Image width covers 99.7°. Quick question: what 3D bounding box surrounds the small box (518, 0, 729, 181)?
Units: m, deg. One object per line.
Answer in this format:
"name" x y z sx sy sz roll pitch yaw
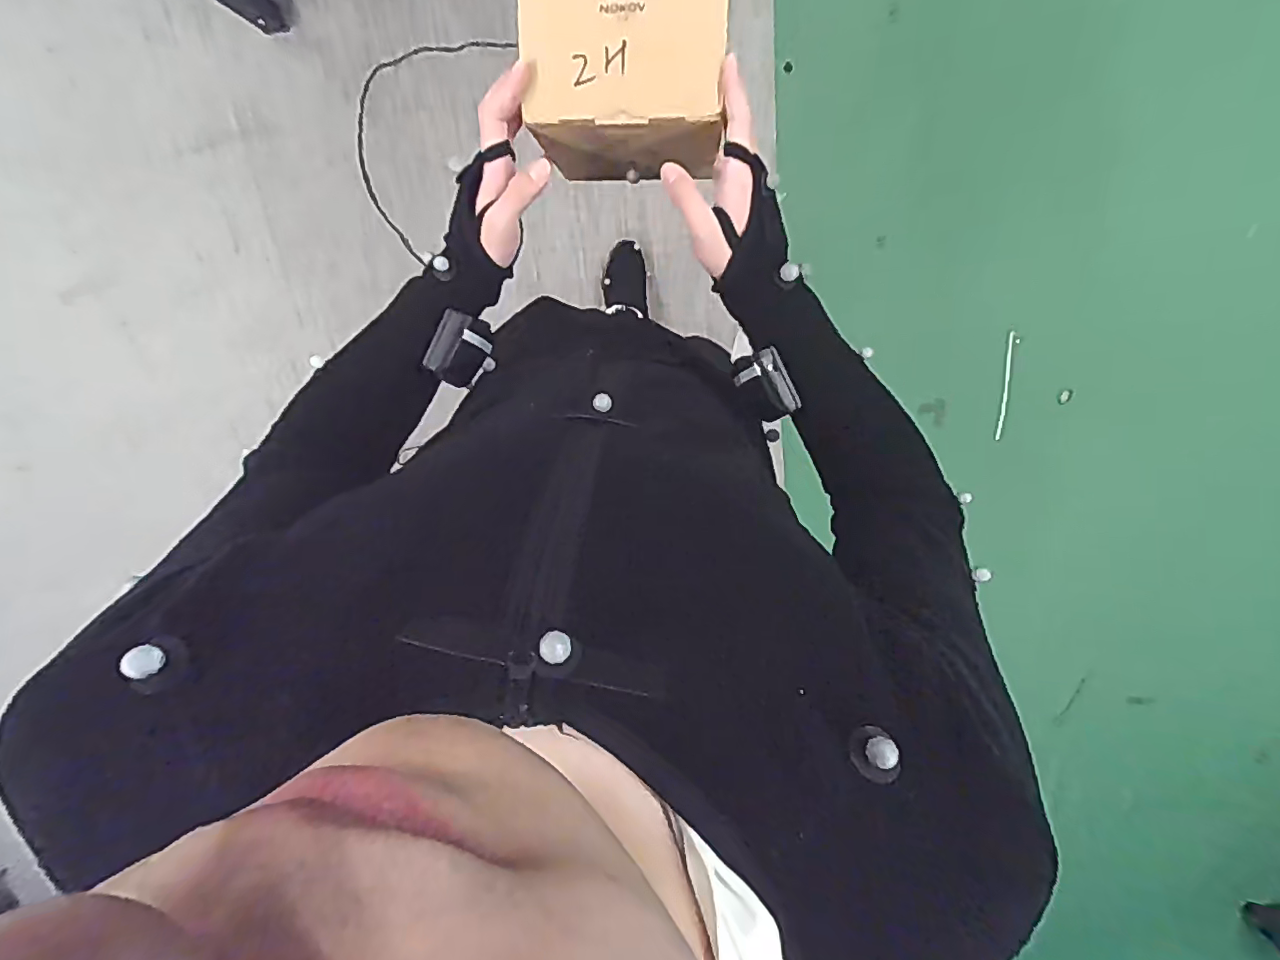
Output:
"small box" -0.006 -0.395 0.491 0.168 0.176 0.179 3 104 6
